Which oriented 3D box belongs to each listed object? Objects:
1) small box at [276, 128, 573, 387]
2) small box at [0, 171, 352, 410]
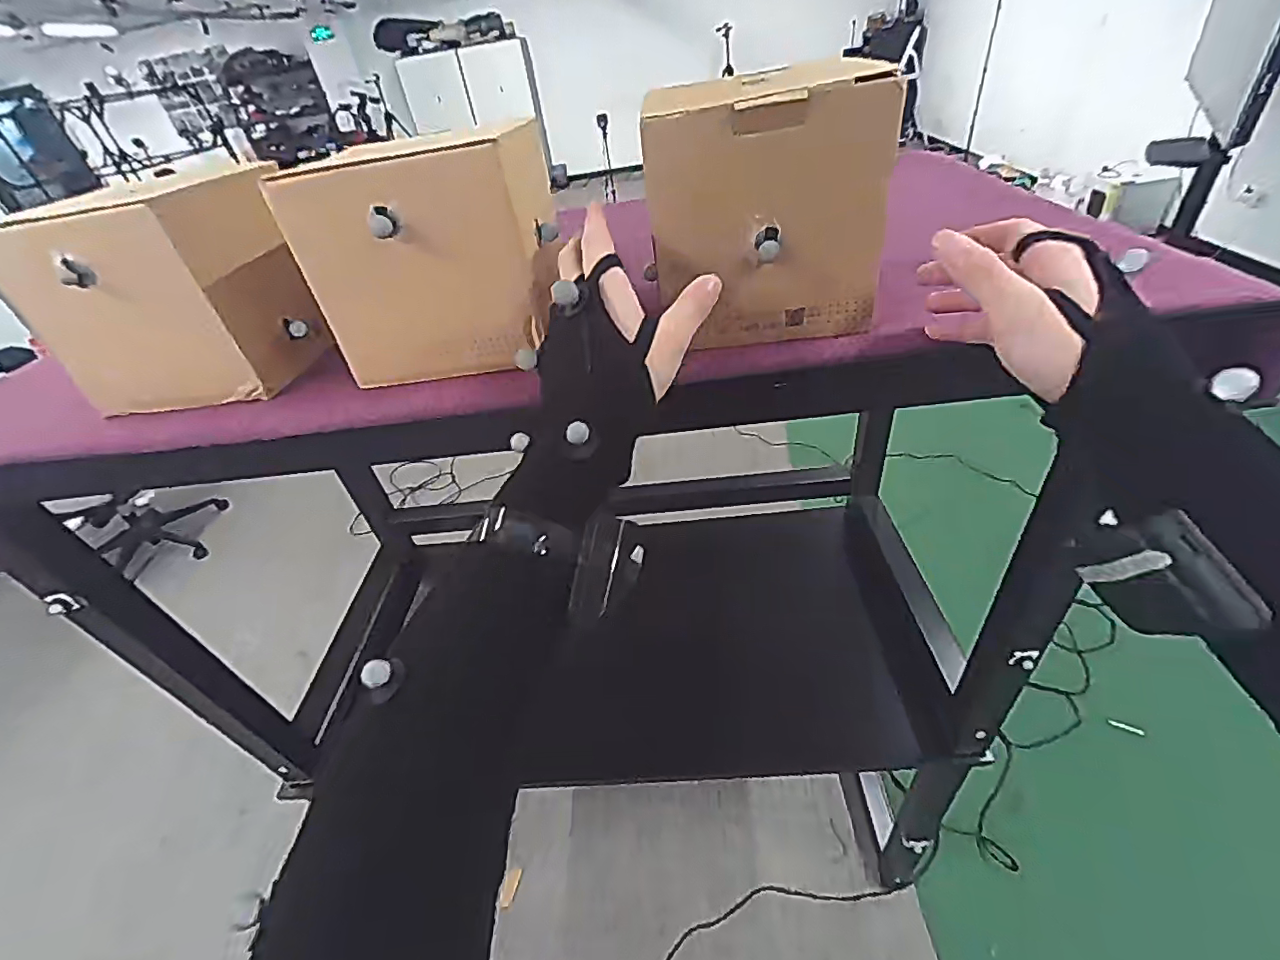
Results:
[{"bbox_3d":[-0.166,-0.202,0.493,0.179,0.176,0.168,-6,37,5],"label":"small box"},{"bbox_3d":[-0.417,-0.179,0.519,0.179,0.176,0.168,-4,38,7],"label":"small box"}]
